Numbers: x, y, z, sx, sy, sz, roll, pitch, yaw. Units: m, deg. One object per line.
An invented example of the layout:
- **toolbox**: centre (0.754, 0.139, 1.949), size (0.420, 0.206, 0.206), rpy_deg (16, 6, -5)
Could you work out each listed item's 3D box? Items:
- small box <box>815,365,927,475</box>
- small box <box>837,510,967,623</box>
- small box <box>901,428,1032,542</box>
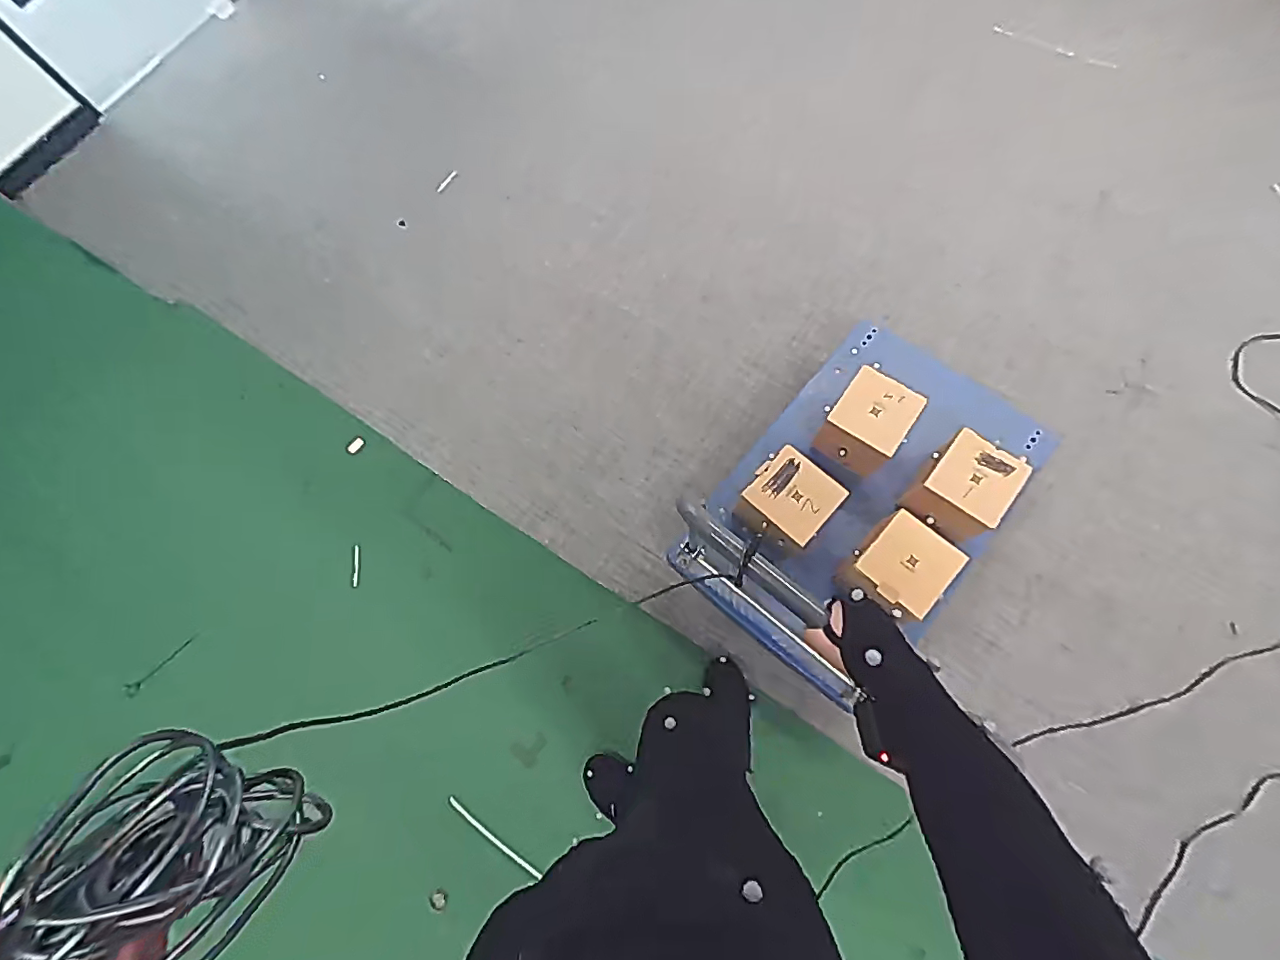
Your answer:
- **small box**: centre (0.543, -0.136, 1.303), size (0.168, 0.176, 0.179), rpy_deg (35, 78, 13)
- **small box**: centre (0.569, 0.197, 1.200), size (0.168, 0.176, 0.179), rpy_deg (41, 80, 14)
- **small box**: centre (0.737, 0.018, 1.243), size (0.168, 0.176, 0.179), rpy_deg (37, 79, 14)
